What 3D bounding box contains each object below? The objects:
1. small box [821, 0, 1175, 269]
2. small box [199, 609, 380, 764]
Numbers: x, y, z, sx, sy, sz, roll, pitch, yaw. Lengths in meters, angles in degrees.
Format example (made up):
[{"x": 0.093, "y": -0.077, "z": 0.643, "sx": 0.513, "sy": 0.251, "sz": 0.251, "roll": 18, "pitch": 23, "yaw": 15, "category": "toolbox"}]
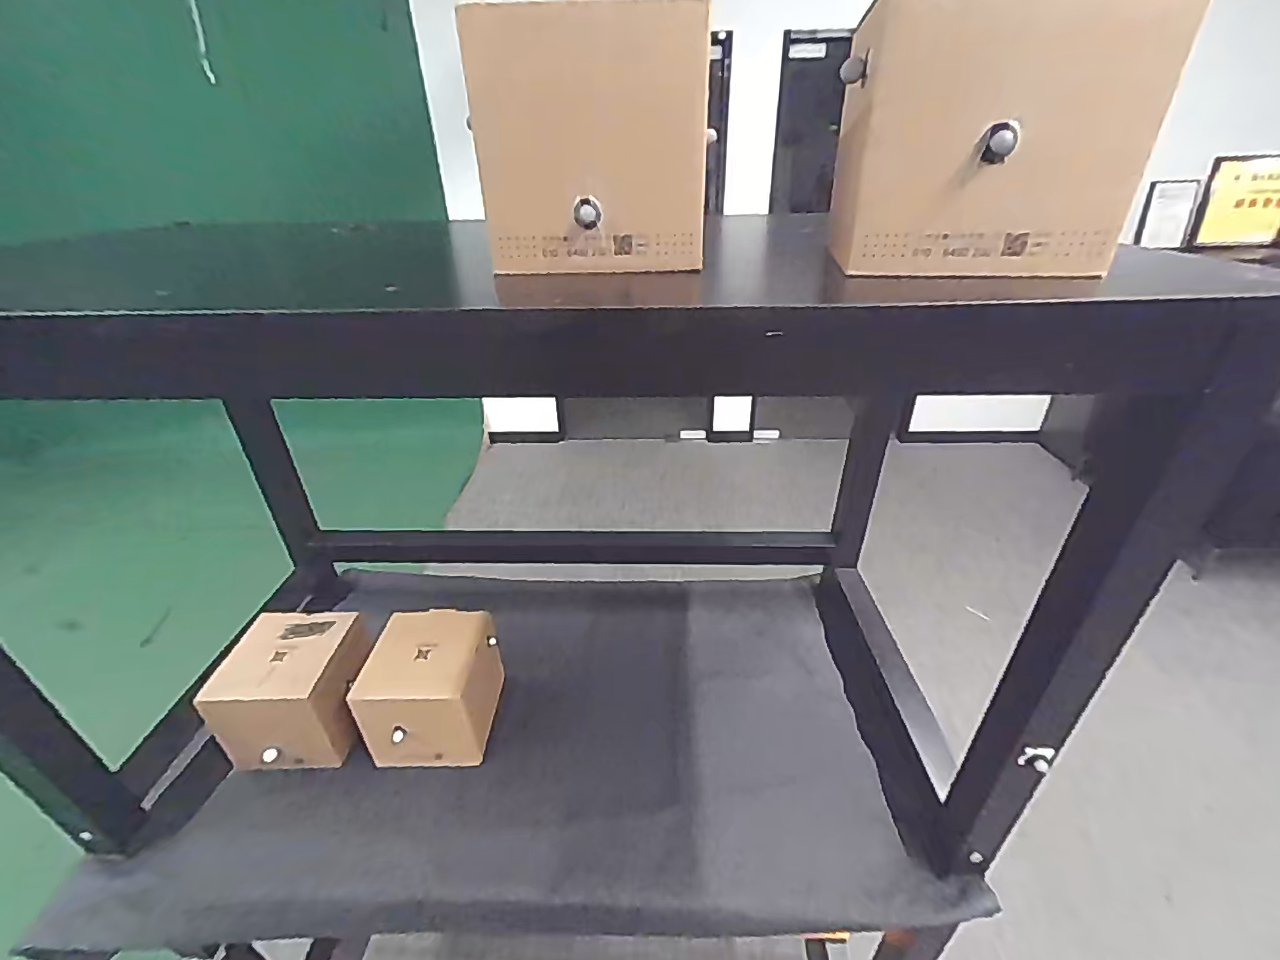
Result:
[{"x": 0.234, "y": -0.257, "z": 0.401, "sx": 0.168, "sy": 0.176, "sz": 0.179, "roll": 5, "pitch": 31, "yaw": 11, "category": "small box"}, {"x": -0.550, "y": 0.332, "z": 0.882, "sx": 0.168, "sy": 0.176, "sz": 0.179, "roll": -1, "pitch": 31, "yaw": 0, "category": "small box"}]
